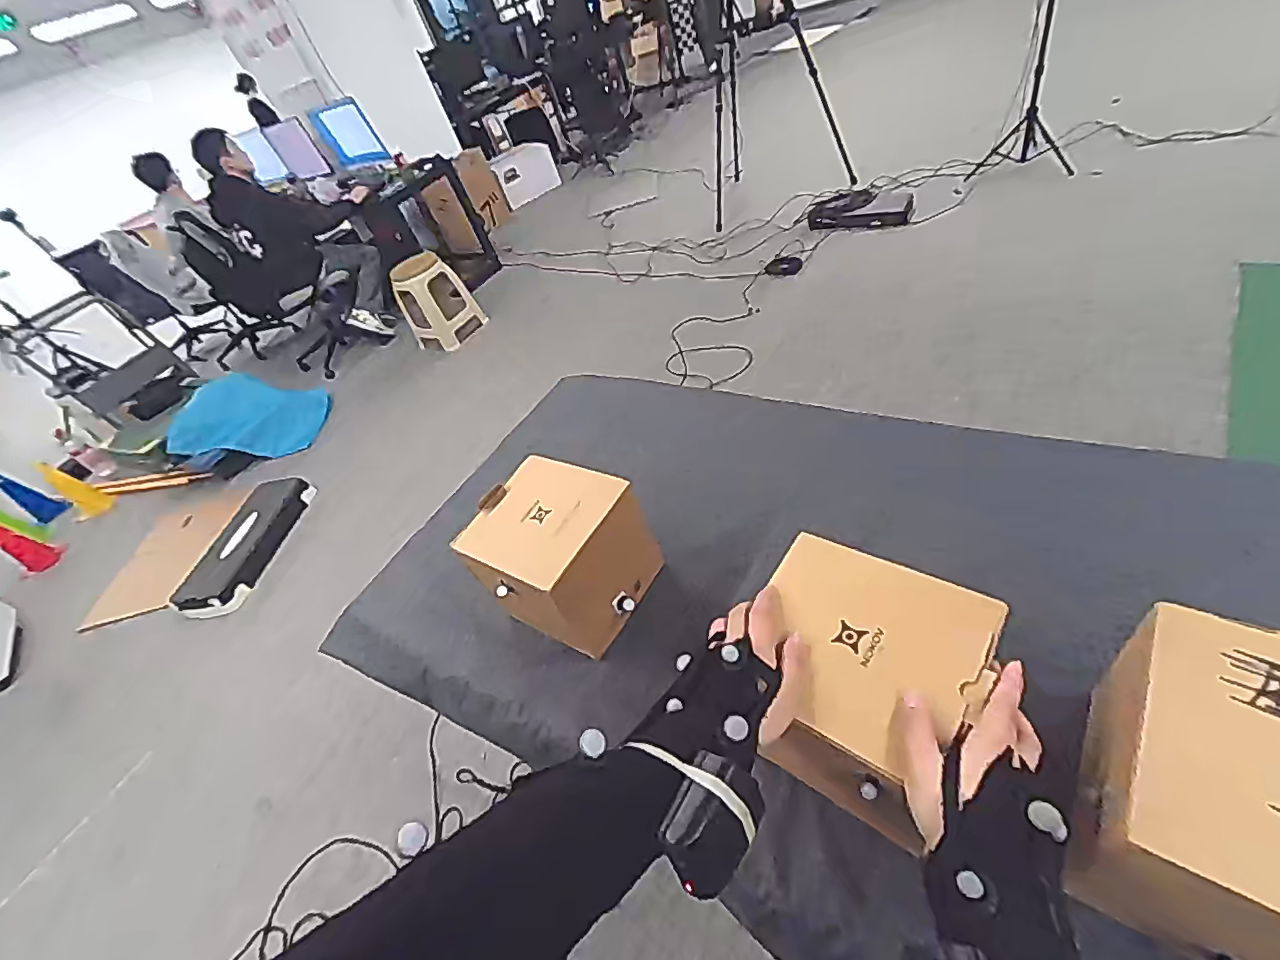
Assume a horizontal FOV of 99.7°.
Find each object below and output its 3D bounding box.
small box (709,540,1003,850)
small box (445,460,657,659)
[{"bbox_3d":[0.190,0.188,0.485,0.179,0.176,0.168,19,55,36],"label":"small box"},{"bbox_3d":[-0.104,0.102,0.697,0.179,0.176,0.168,15,54,33],"label":"small box"}]
